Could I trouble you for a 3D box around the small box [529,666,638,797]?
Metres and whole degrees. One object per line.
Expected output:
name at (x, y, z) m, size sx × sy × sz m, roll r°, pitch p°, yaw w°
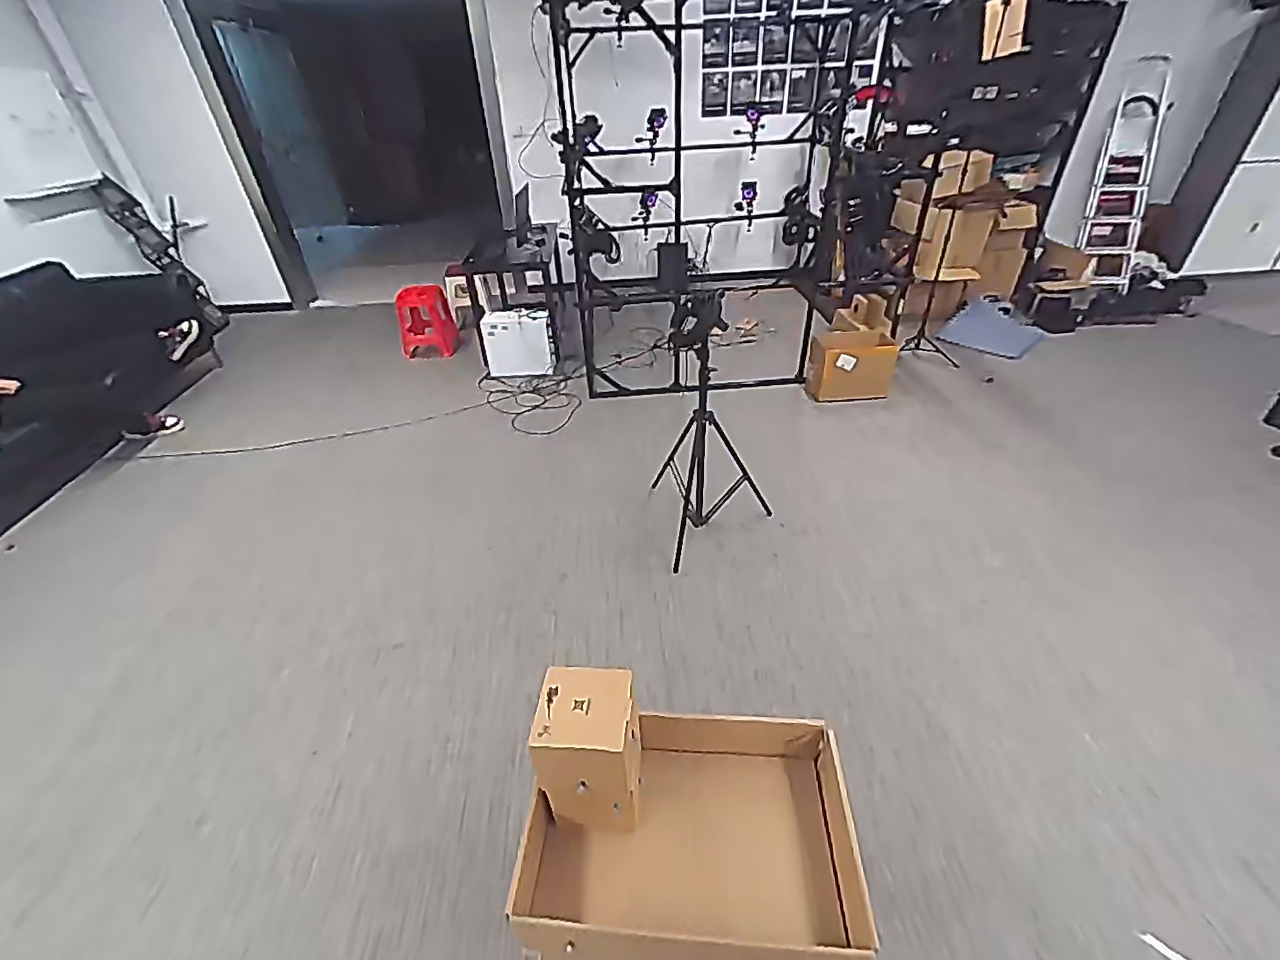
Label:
small box at (-0.098, 0.486, 1.044) m, size 0.179 × 0.176 × 0.168 m, roll 2°, pitch 35°, yaw 6°
